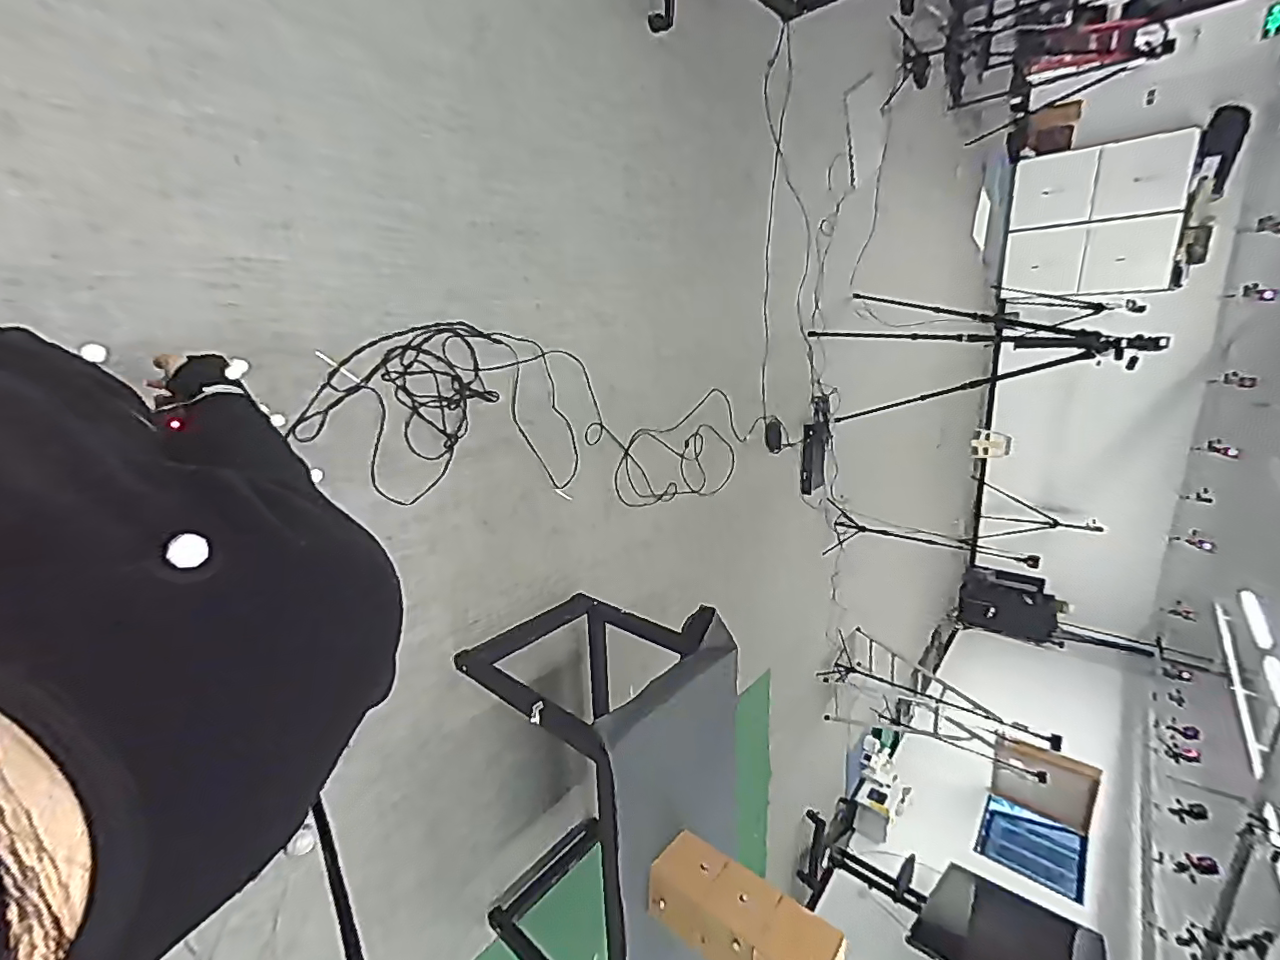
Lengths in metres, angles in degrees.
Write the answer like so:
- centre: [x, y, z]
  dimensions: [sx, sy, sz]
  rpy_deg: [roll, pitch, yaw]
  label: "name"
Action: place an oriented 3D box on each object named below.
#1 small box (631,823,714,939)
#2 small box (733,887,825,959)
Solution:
- centre: [0.095, 1.149, 1.568]
  dimensions: [0.179, 0.176, 0.168]
  rpy_deg: [-12, 107, -50]
  label: "small box"
- centre: [0.349, 1.196, 1.369]
  dimensions: [0.179, 0.176, 0.168]
  rpy_deg: [-18, 113, -49]
  label: "small box"
